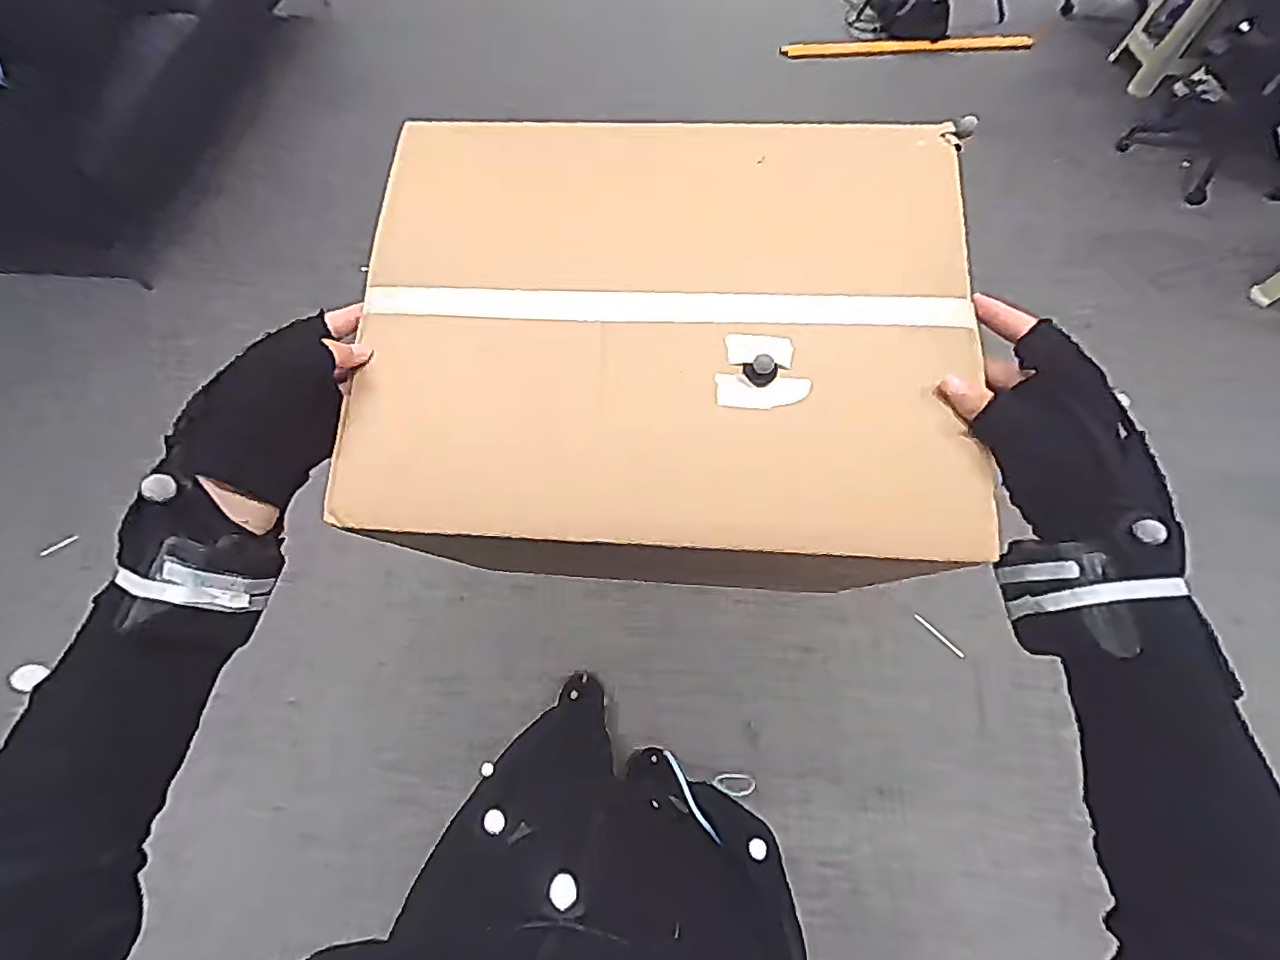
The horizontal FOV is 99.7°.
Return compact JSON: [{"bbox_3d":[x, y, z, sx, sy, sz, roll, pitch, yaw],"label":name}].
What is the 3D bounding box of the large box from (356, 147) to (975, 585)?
[{"bbox_3d":[0.021,-0.069,0.524,0.408,0.320,0.320,2,76,4],"label":"large box"}]
